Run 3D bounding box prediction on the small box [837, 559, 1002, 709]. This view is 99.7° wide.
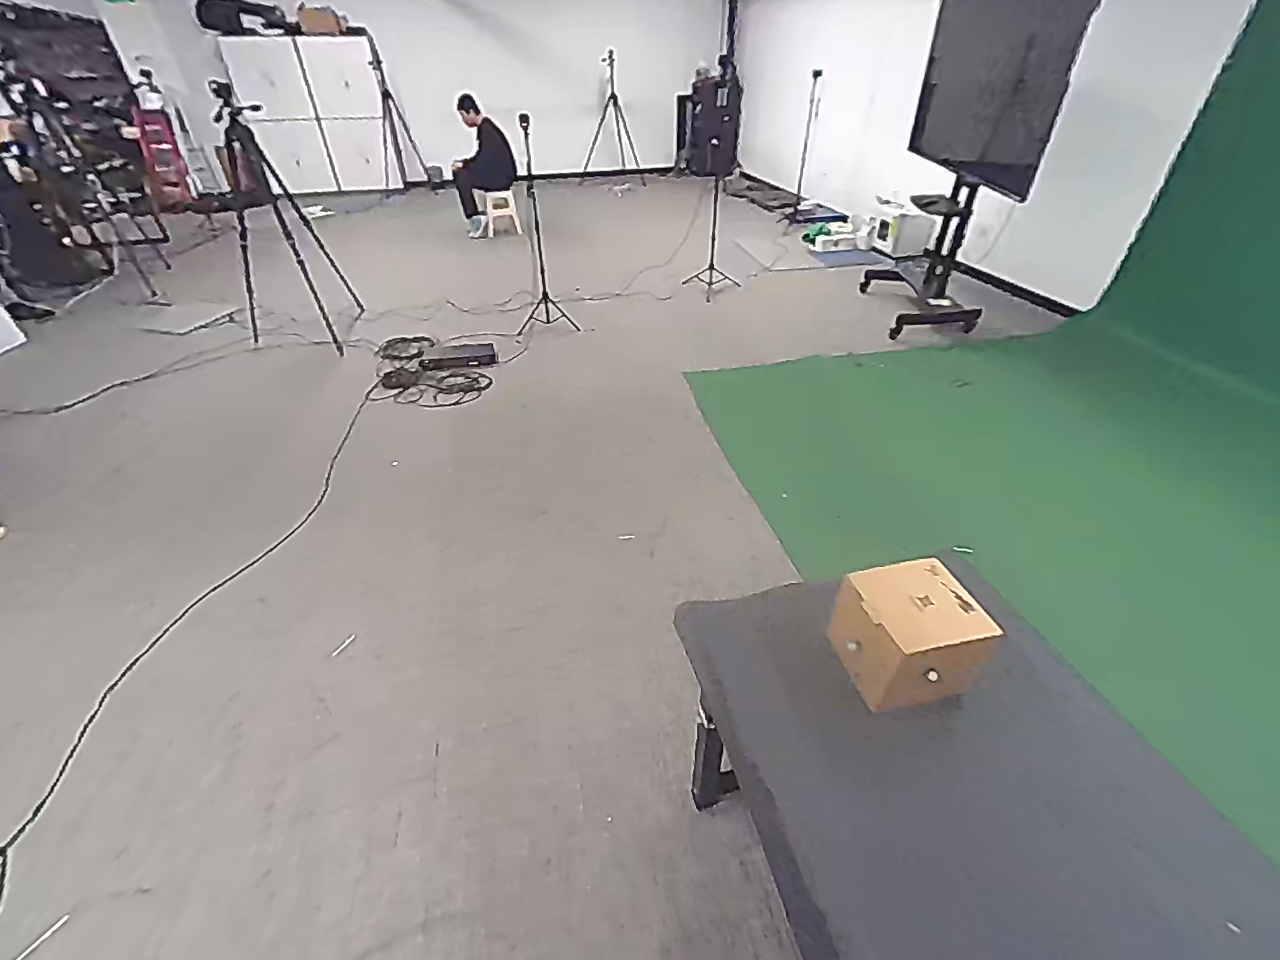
[{"bbox_3d":[0.453,0.262,0.916,0.179,0.176,0.168,-9,39,-9],"label":"small box"}]
